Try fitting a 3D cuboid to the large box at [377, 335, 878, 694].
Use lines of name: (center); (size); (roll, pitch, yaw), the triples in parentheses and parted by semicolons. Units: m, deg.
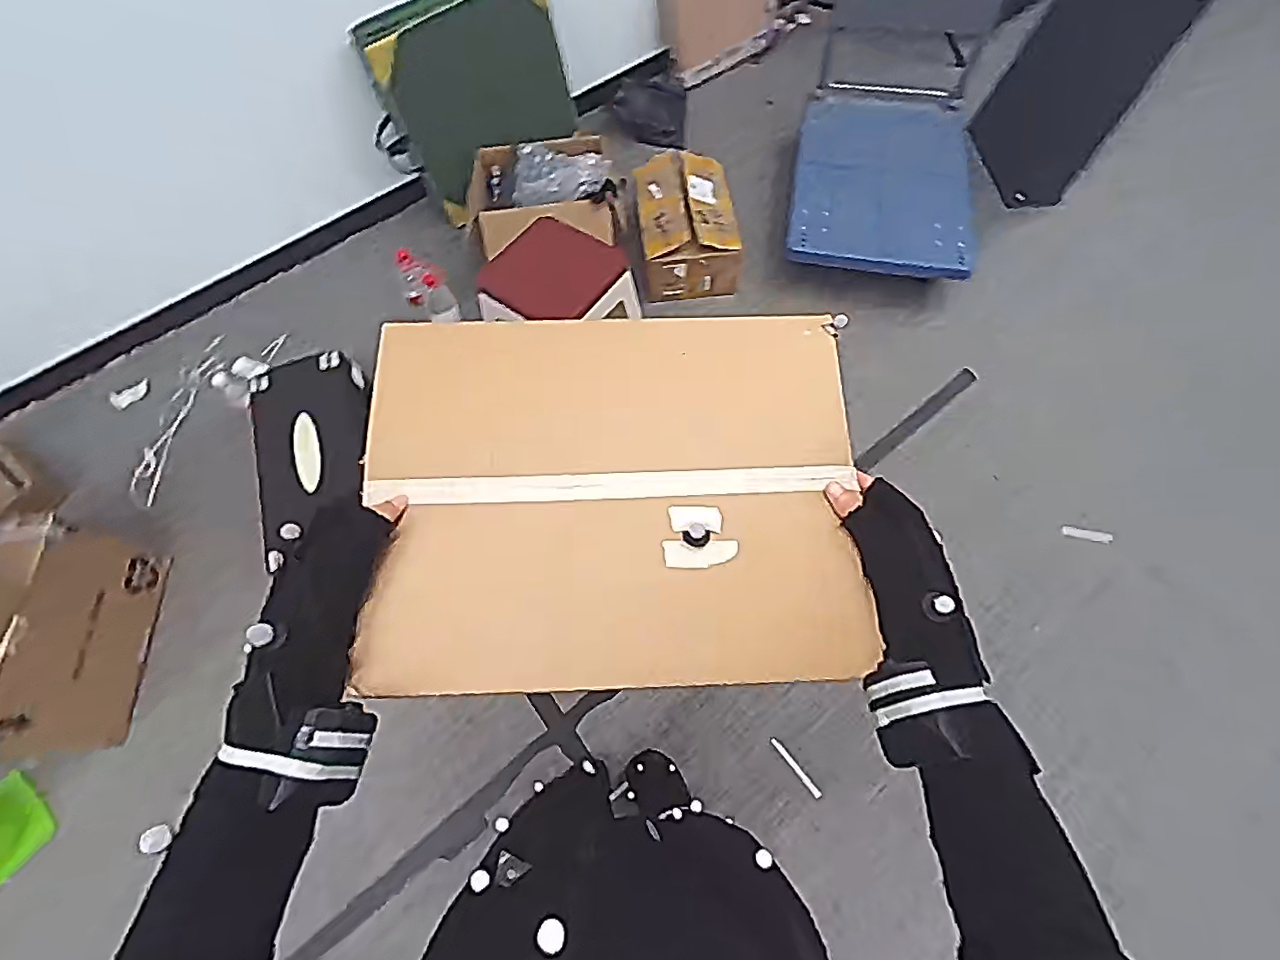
large box: (-0.017, 0.056, 0.608); (0.408, 0.320, 0.320); (-1, 74, -1)
